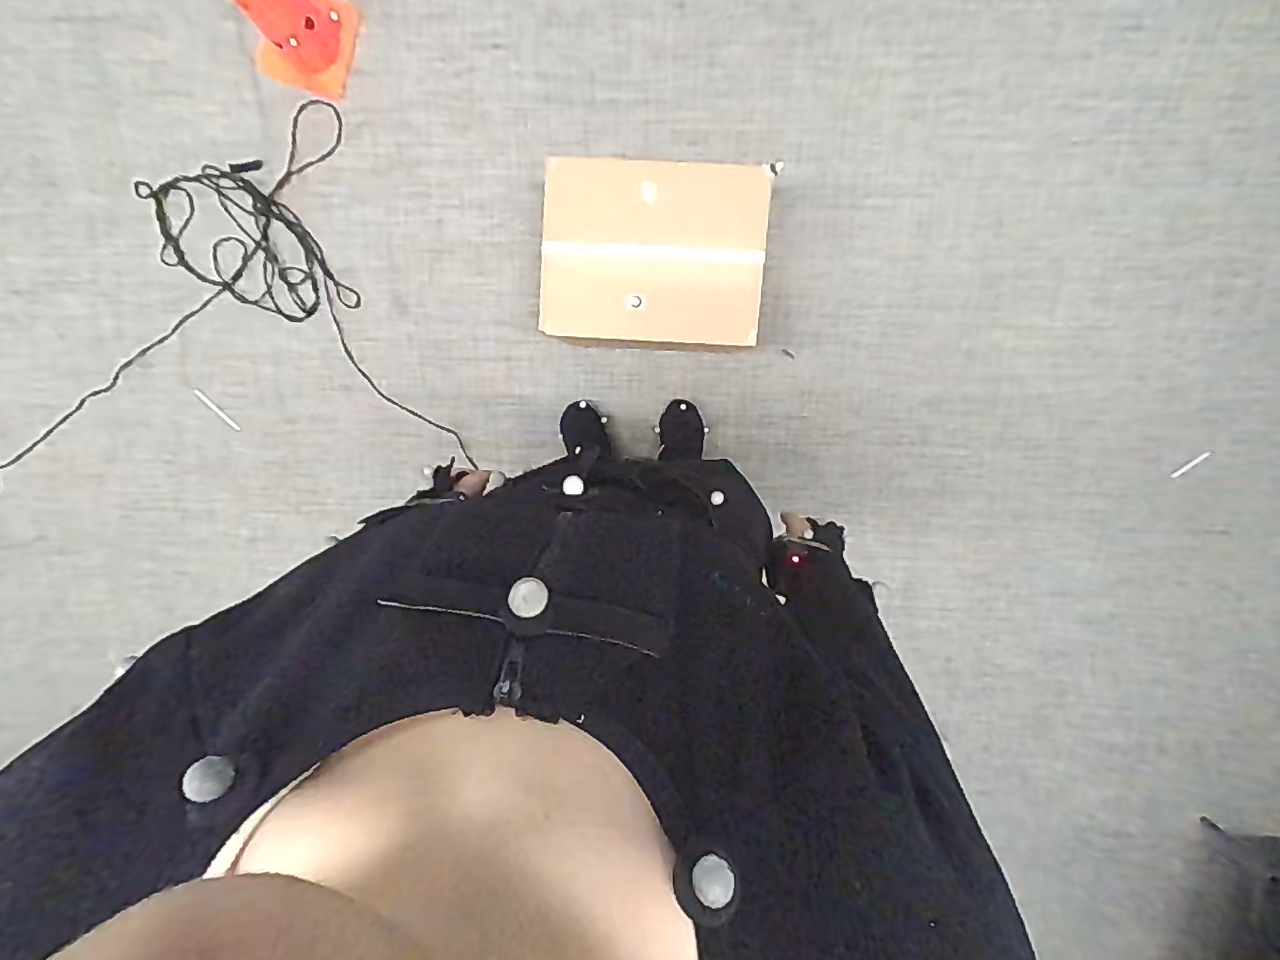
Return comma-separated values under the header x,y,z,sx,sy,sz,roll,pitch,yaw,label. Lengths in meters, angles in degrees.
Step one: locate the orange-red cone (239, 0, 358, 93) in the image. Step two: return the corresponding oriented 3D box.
x,y,z,sx,sy,sz,roll,pitch,yaw,label
-0.747,-0.956,1.024,0.199,0.360,0.198,22,99,0,orange-red cone
